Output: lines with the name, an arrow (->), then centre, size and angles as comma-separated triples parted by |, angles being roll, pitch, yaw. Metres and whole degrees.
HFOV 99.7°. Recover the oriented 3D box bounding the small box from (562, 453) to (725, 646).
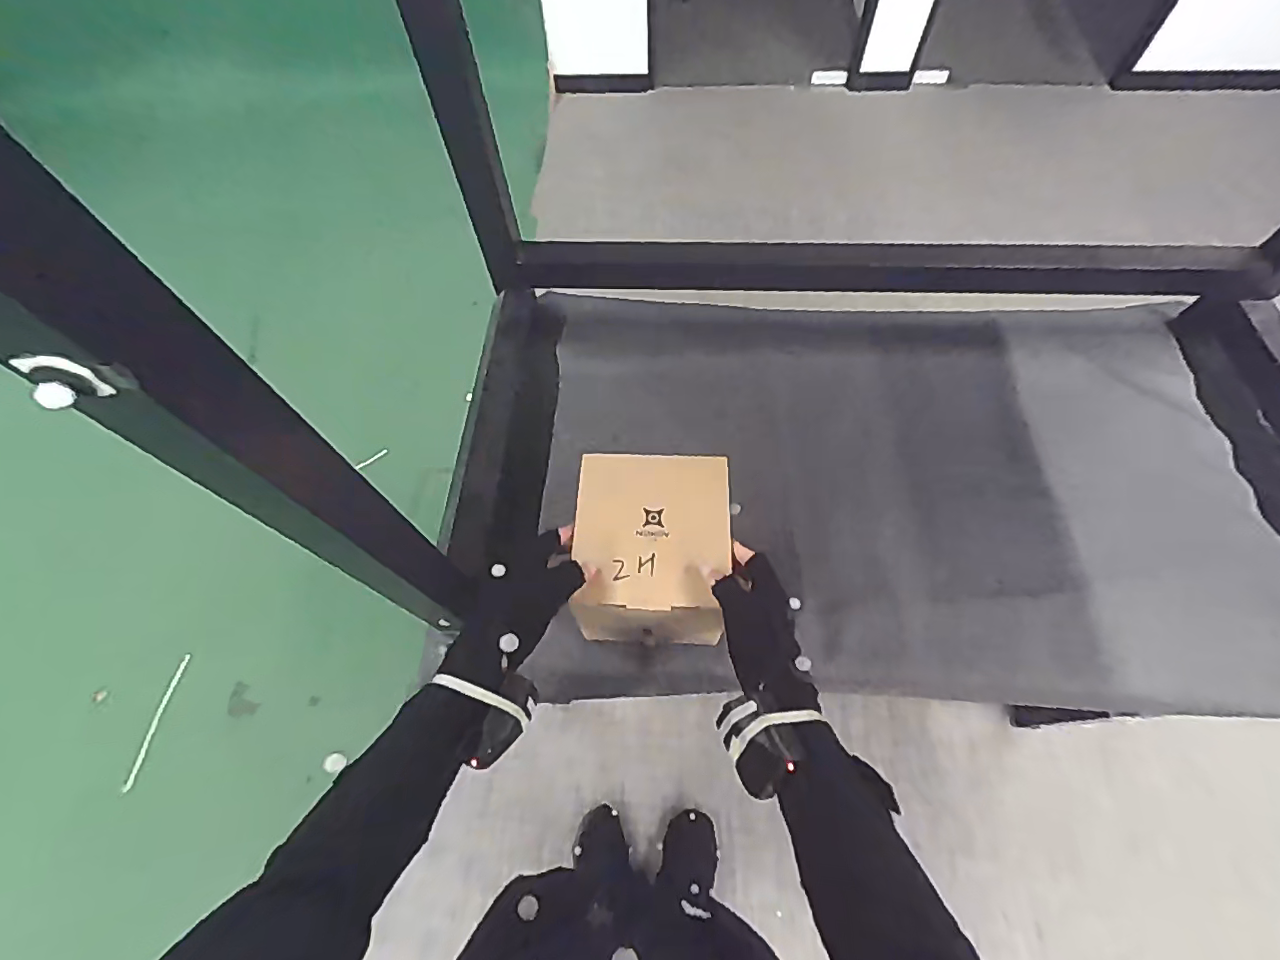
small box -> 0.009, 0.087, 0.643 | 0.168, 0.176, 0.179 | 2, 61, 3
